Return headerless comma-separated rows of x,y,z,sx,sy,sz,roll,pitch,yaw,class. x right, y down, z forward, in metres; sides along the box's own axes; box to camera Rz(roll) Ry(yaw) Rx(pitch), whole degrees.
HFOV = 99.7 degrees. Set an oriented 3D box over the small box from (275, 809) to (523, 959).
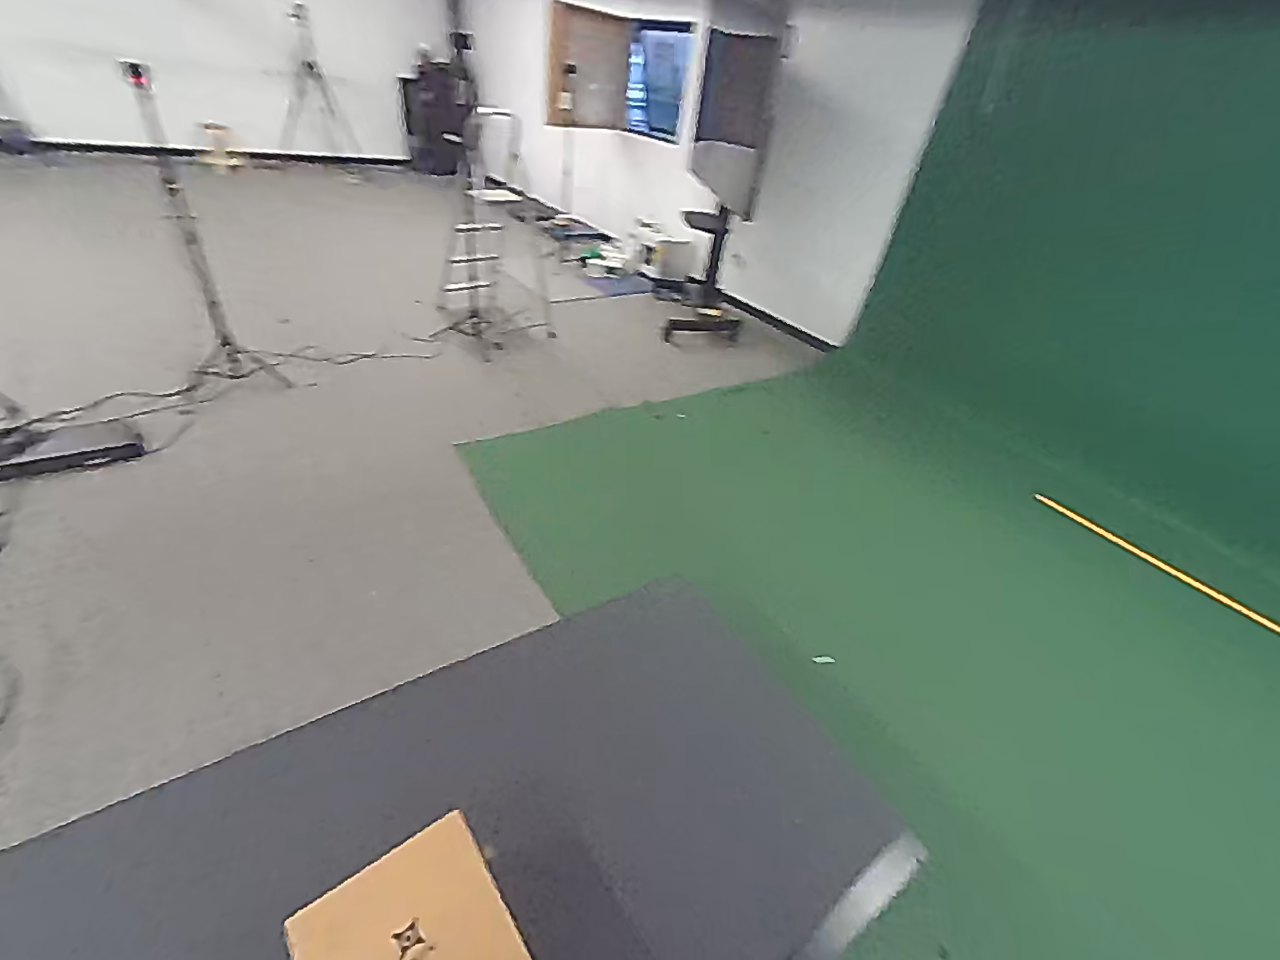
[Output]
-0.221,0.477,0.520,0.168,0.176,0.179,-20,44,-35,small box
